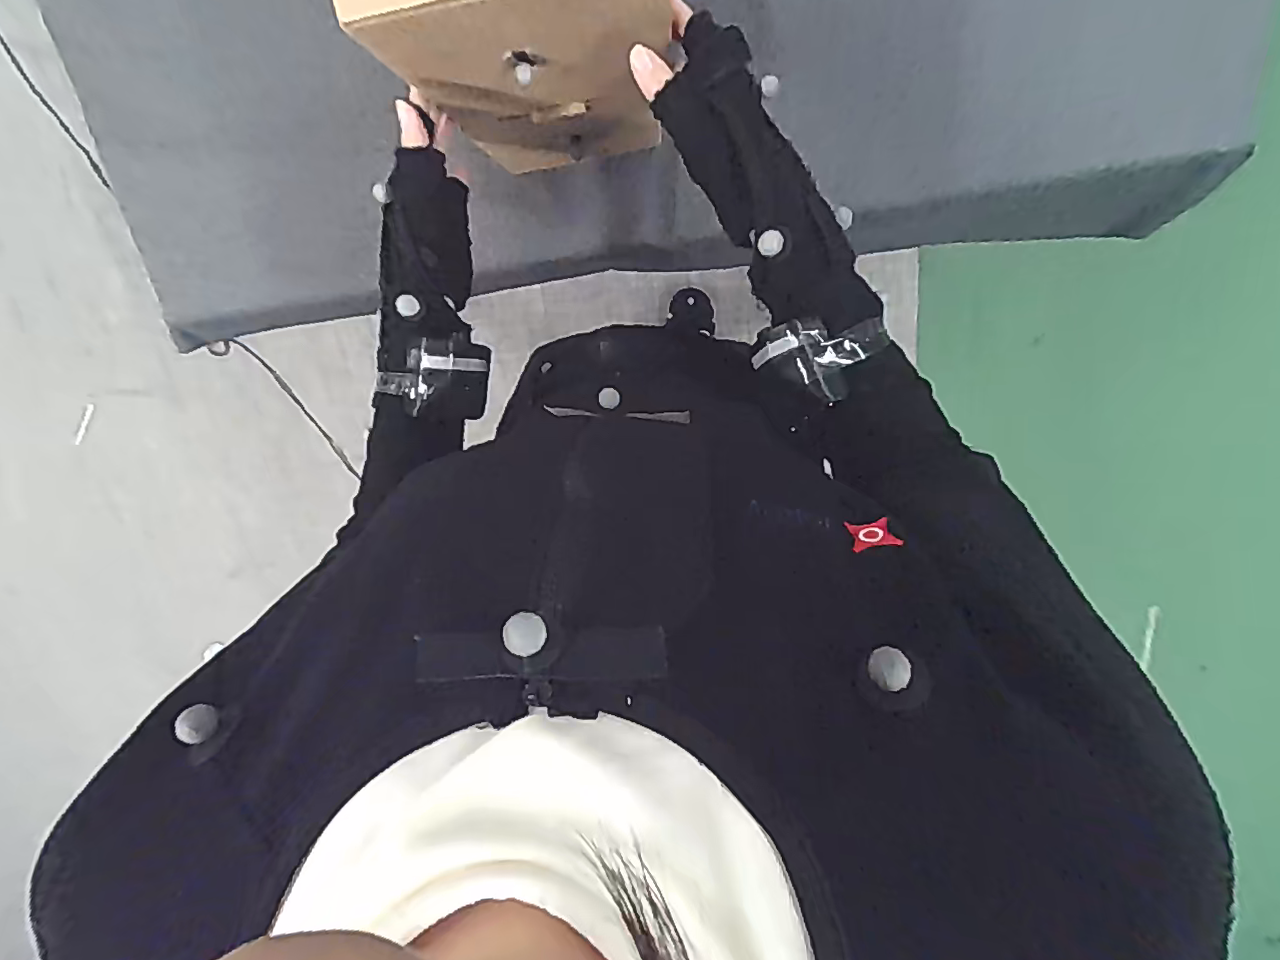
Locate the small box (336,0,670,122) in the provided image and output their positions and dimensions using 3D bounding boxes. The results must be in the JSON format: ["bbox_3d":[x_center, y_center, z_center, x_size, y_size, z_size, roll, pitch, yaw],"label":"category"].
[{"bbox_3d":[-0.077,-0.345,0.327,0.179,0.176,0.168,-7,108,6],"label":"small box"}]

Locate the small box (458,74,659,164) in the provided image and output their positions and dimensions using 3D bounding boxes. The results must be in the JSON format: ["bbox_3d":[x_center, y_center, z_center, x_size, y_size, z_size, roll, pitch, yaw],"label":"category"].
[{"bbox_3d":[-0.075,-0.401,0.483,0.168,0.176,0.179,-8,109,6],"label":"small box"}]
